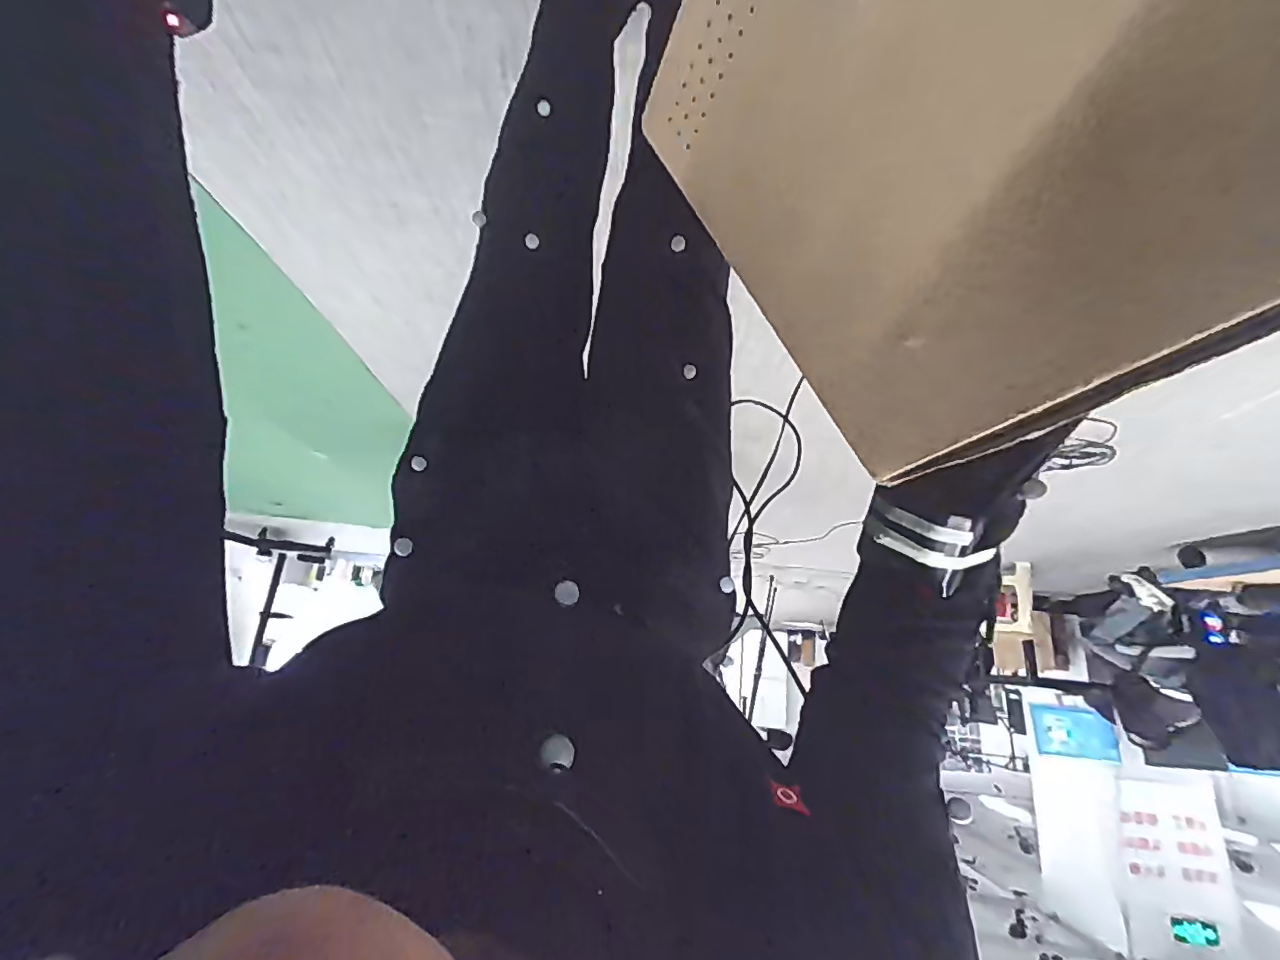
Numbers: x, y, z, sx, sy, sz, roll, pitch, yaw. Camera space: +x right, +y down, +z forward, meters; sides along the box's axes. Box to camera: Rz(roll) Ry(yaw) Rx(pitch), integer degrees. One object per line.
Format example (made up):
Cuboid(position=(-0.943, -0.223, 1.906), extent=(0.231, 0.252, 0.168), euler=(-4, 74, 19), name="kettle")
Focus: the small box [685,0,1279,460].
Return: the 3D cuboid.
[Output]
Cuboid(position=(0.136, -0.134, 0.158), extent=(0.168, 0.176, 0.179), euler=(-27, 172, -25), name="small box")
